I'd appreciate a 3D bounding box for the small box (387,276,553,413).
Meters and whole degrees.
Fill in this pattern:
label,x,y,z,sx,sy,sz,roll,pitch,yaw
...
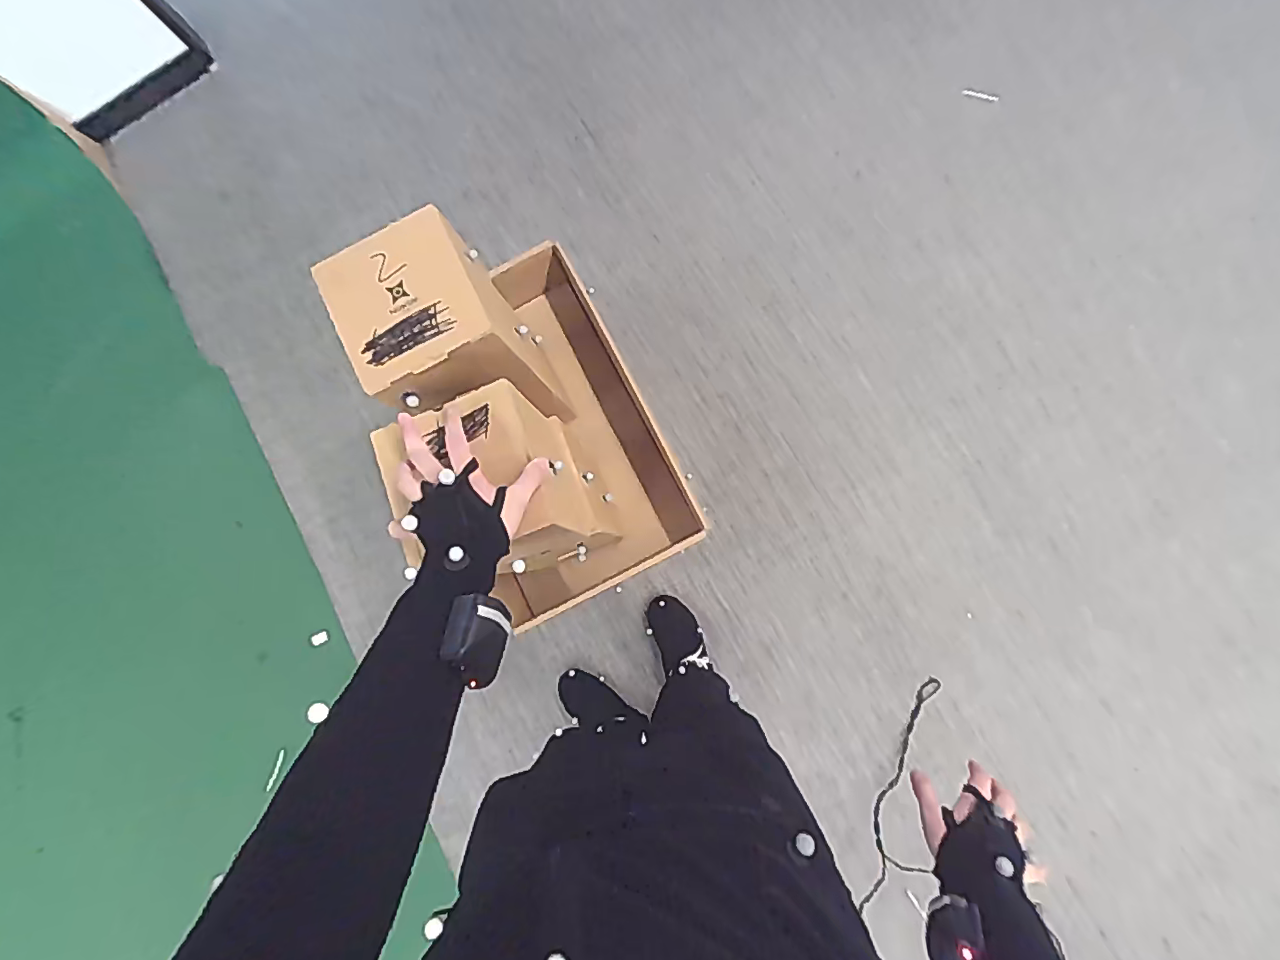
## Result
label,x,y,z,sx,sy,sz,roll,pitch,yaw
small box,-0.261,-0.184,0.869,0.168,0.176,0.179,-28,84,1

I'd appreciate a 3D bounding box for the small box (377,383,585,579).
label,x,y,z,sx,sy,sz,roll,pitch,yaw
small box,-0.183,0.013,0.662,0.168,0.176,0.179,-22,77,3

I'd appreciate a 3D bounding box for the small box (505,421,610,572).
label,x,y,z,sx,sy,sz,roll,pitch,yaw
small box,-0.157,0.032,0.830,0.168,0.176,0.179,-21,81,2

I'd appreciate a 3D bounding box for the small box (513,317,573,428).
label,x,y,z,sx,sy,sz,roll,pitch,yaw
small box,-0.248,-0.172,1.030,0.168,0.176,0.179,-28,83,2
